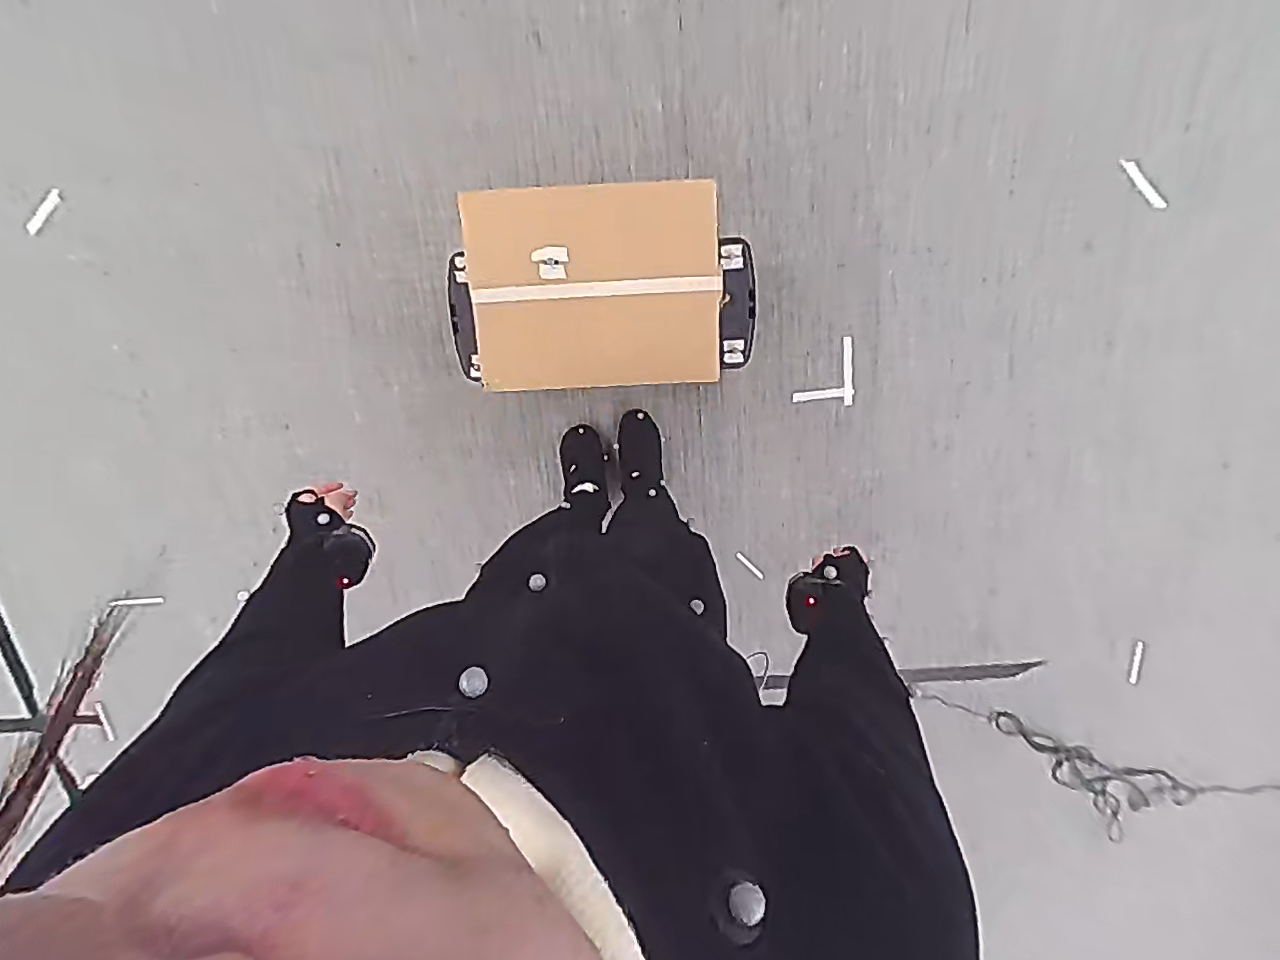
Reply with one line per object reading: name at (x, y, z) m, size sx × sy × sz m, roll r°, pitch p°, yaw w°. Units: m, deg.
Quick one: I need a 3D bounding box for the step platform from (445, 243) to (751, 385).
step platform at (-0.090, -0.376, 1.248) m, size 0.684 × 0.204 × 0.286 m, roll 2°, pitch 105°, yaw 0°

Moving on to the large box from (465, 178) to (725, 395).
large box at (-0.062, -0.341, 1.010) m, size 0.408 × 0.320 × 0.320 m, roll -2°, pitch 105°, yaw 2°
